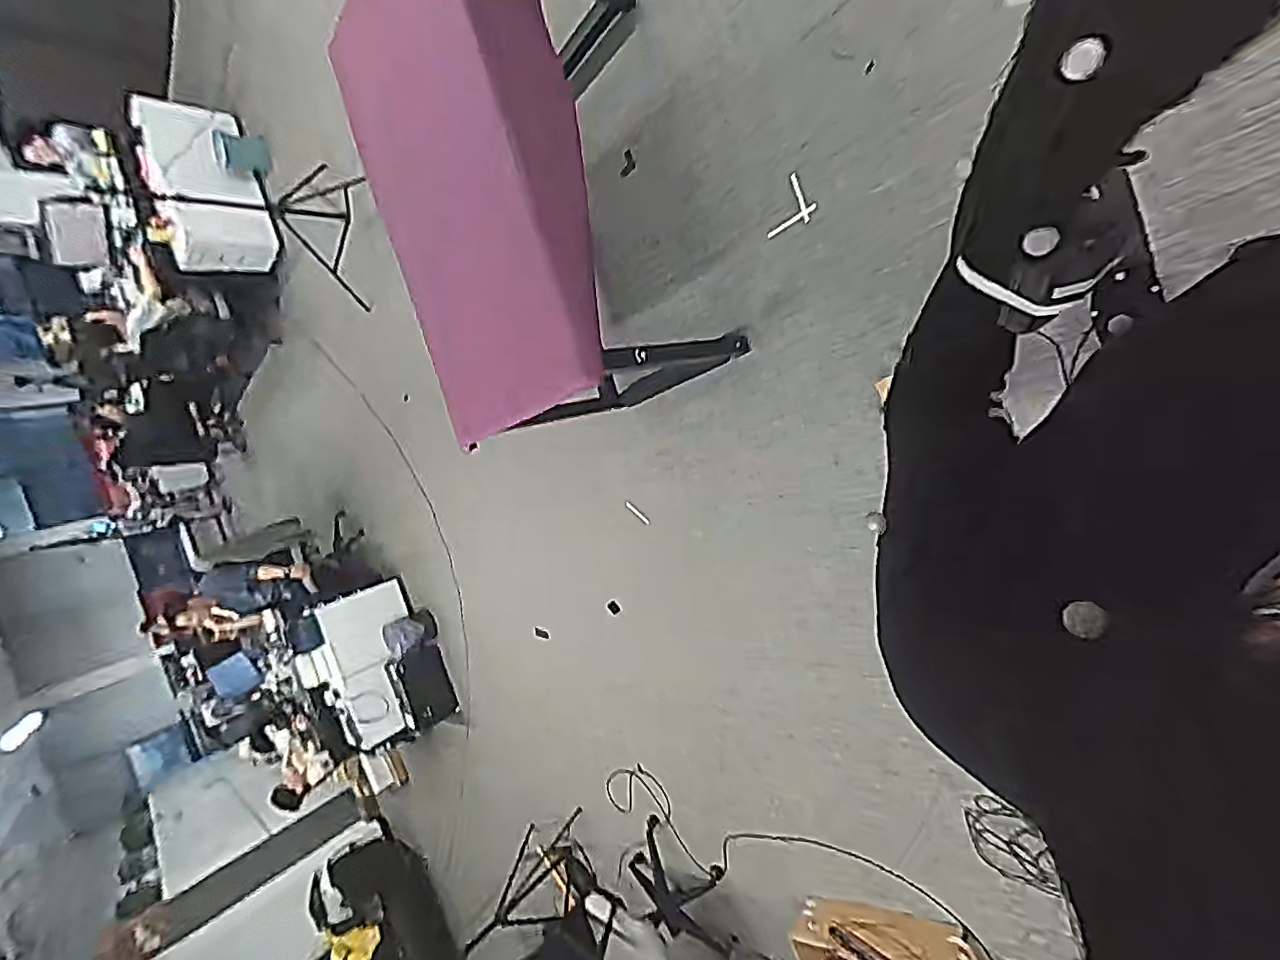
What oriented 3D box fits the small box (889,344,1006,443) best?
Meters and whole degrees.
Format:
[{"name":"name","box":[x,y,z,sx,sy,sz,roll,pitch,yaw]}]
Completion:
[{"name":"small box","box":[0.742,-0.212,1.300,0.168,0.176,0.179,-33,78,44]}]
